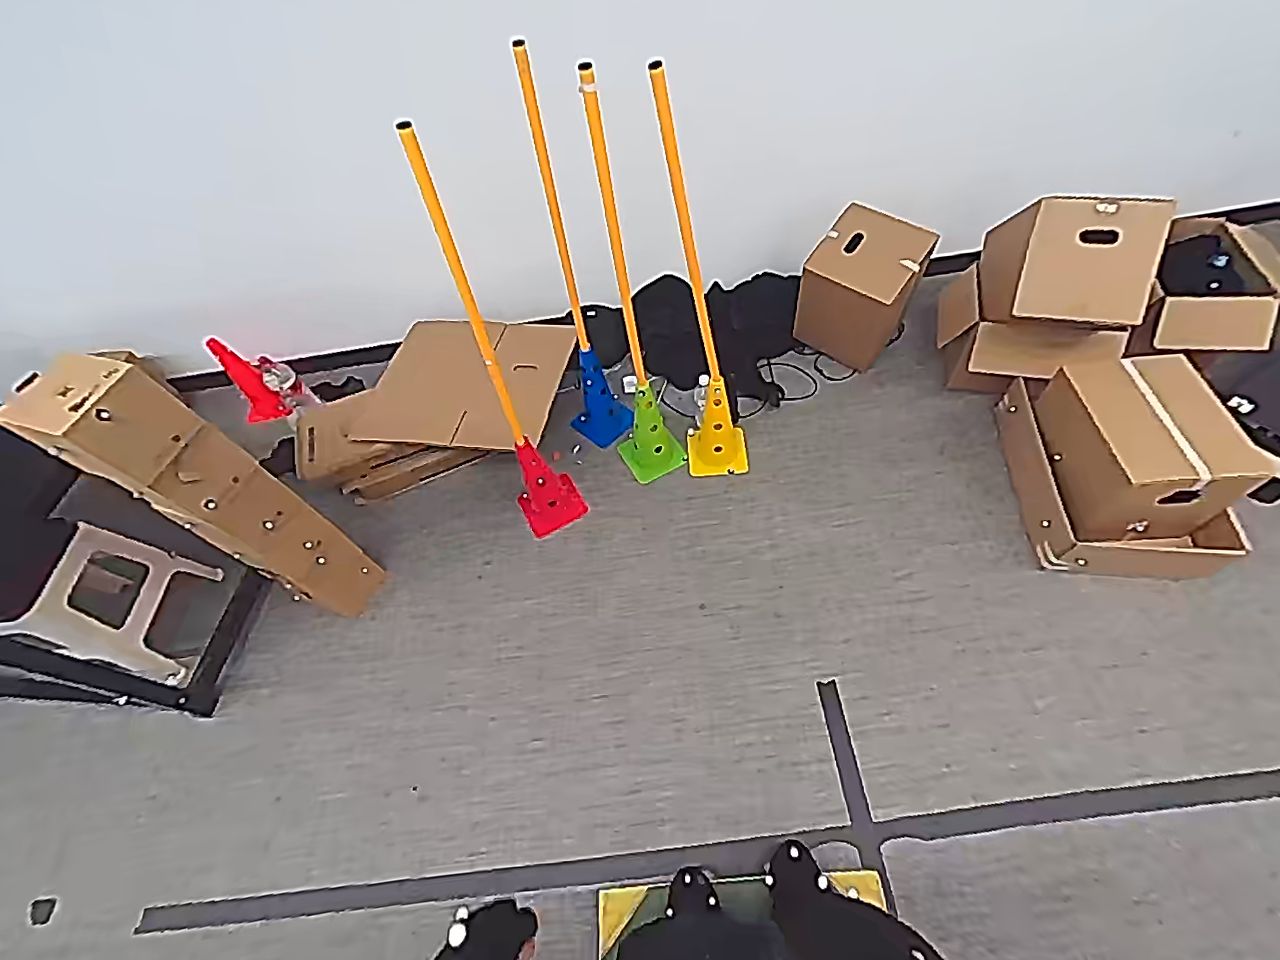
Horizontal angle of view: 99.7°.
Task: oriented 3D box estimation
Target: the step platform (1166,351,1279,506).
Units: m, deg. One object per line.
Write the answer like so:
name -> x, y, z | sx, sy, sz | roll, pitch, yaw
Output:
step platform -> 1.984, -0.216, 1.639 | 0.684, 0.204, 0.286 | -32, 58, -13
